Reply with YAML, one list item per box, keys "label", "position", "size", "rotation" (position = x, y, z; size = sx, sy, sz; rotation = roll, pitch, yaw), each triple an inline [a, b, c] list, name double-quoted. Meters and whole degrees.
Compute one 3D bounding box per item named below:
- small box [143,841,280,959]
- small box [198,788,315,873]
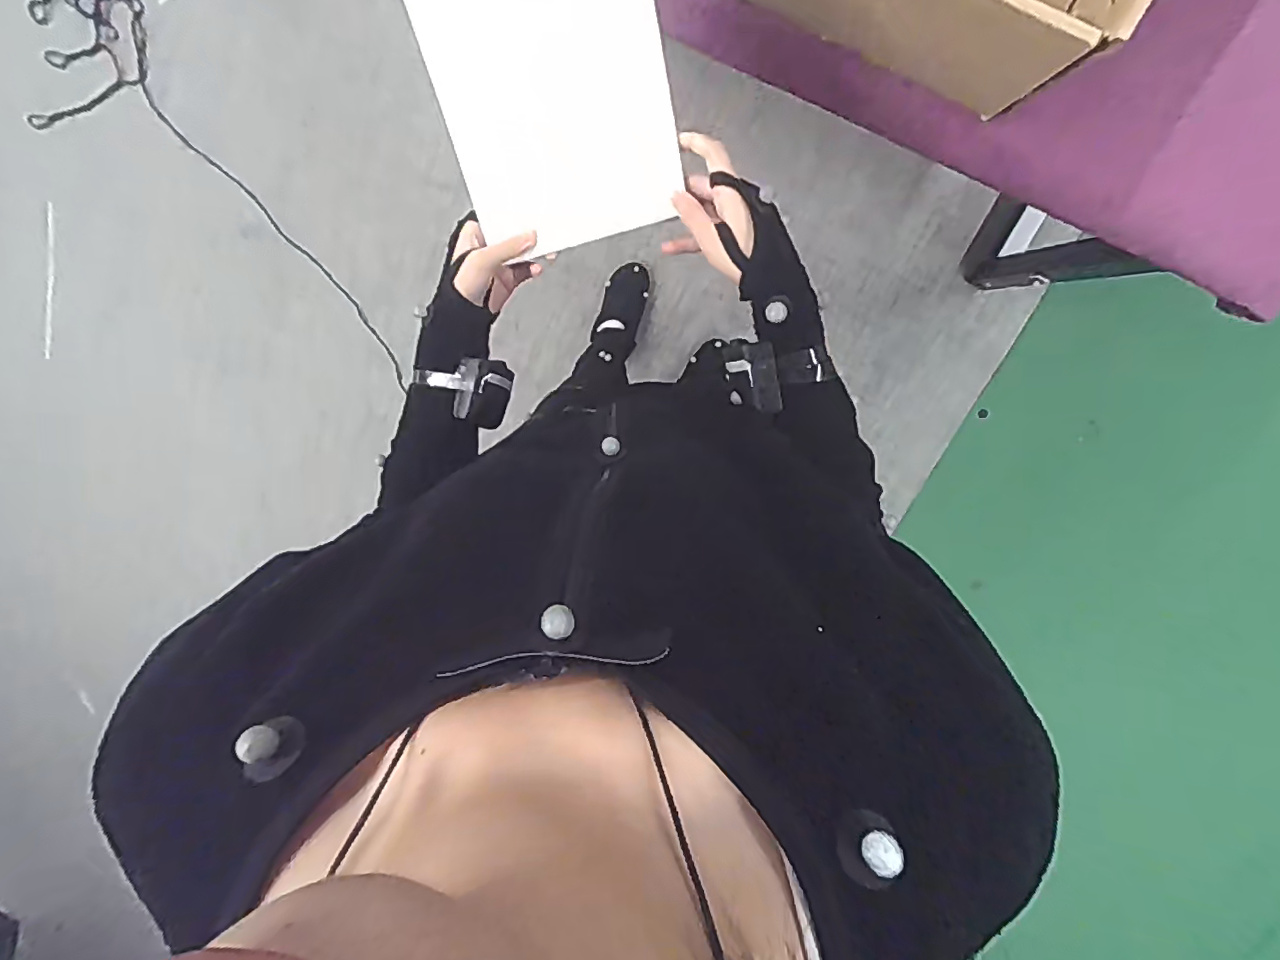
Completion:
- label: "small box"
  position: [-1.089, 1.067, 1.387]
  size: [0.168, 0.176, 0.179]
  rotation: [-30, 102, 15]
- label: "small box"
  position: [-1.088, 1.021, 1.547]
  size: [0.168, 0.176, 0.179]
  rotation: [-34, 99, 16]
